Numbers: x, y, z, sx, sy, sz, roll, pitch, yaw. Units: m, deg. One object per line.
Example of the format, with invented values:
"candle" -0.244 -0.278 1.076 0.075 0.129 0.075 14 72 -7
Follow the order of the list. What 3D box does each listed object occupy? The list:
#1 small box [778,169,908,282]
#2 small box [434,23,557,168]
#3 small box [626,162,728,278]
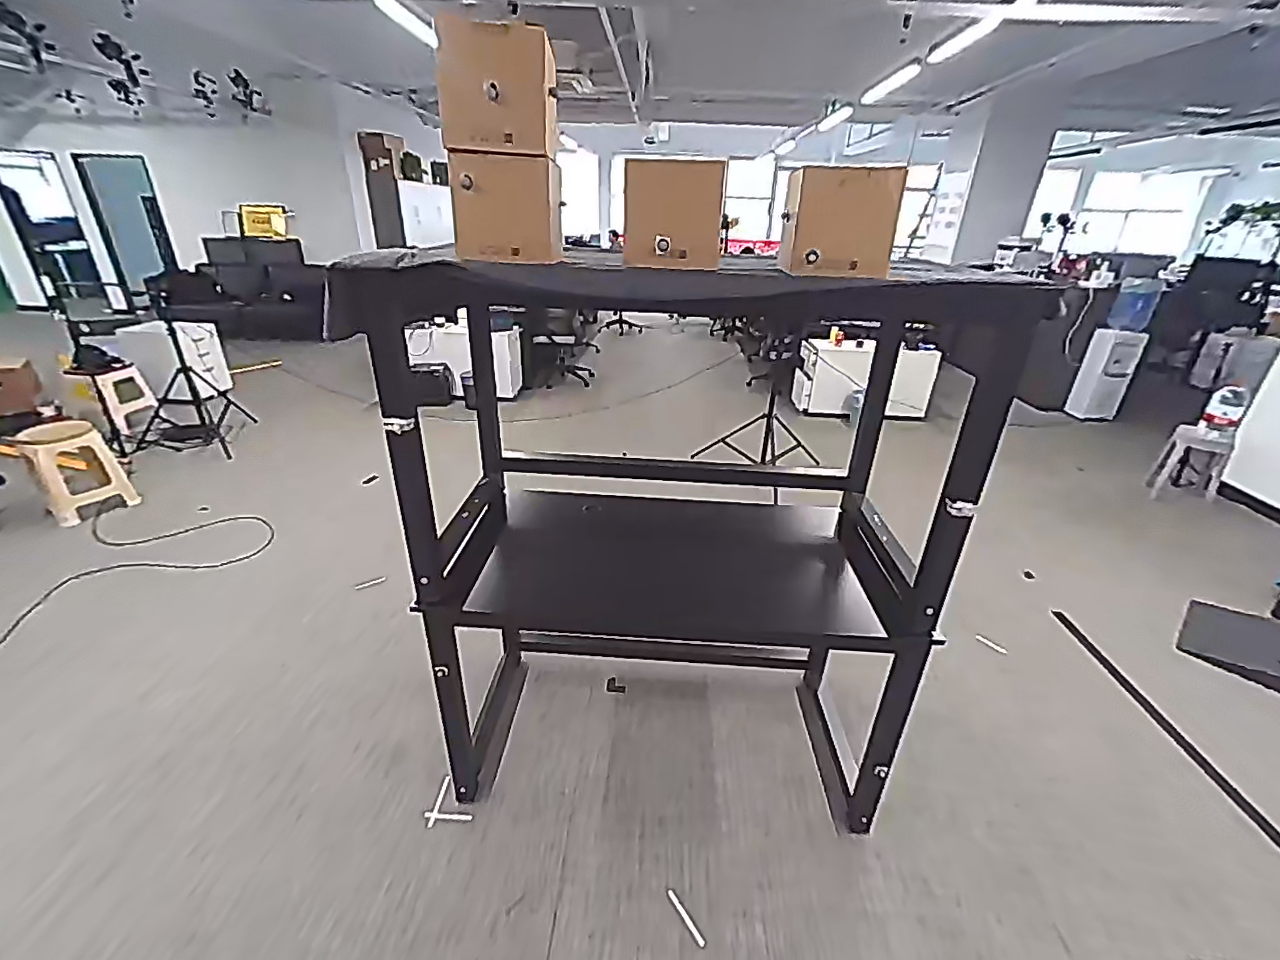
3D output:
"small box" 0.349 -0.449 0.963 0.168 0.176 0.179 4 25 4
"small box" -0.227 -0.623 0.899 0.168 0.176 0.179 2 25 -5
"small box" 0.065 -0.460 0.967 0.168 0.176 0.179 3 25 5
